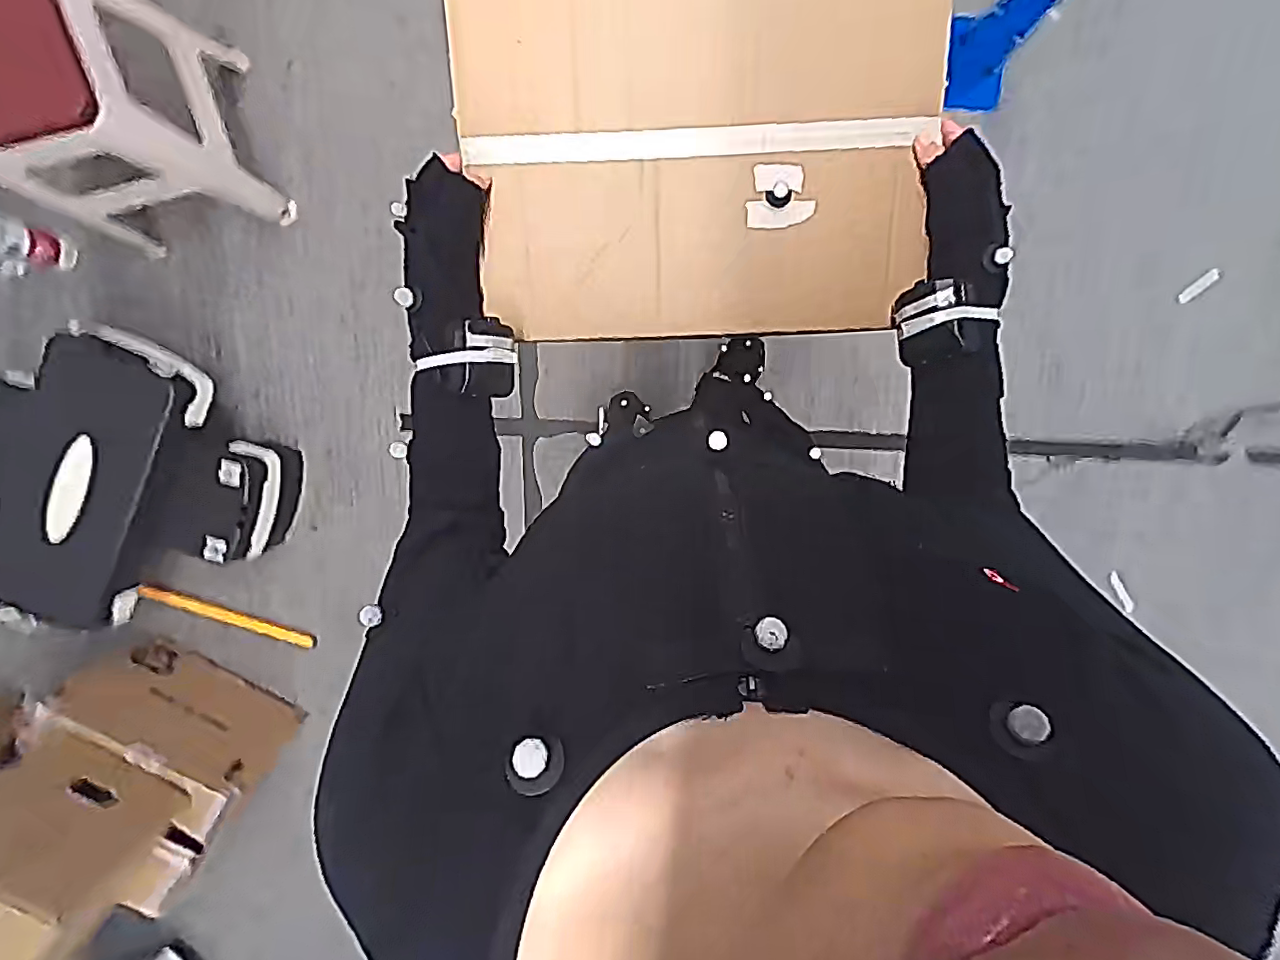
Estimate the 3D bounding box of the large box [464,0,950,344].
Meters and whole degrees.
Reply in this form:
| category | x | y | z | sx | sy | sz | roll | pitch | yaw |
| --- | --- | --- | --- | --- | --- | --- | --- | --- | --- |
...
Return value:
| category | x | y | z | sx | sy | sz | roll | pitch | yaw |
| --- | --- | --- | --- | --- | --- | --- | --- | --- | --- |
| large box | 0.055 | -0.320 | 0.610 | 0.408 | 0.320 | 0.320 | -1 | 104 | 0 |

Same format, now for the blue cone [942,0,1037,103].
| category | x | y | z | sx | sy | sz | roll | pitch | yaw |
| --- | --- | --- | --- | --- | --- | --- | --- | --- | --- |
| blue cone | 0.781 | -0.999 | 1.155 | 0.193 | 0.380 | 0.192 | 4 | 99 | -3 |
